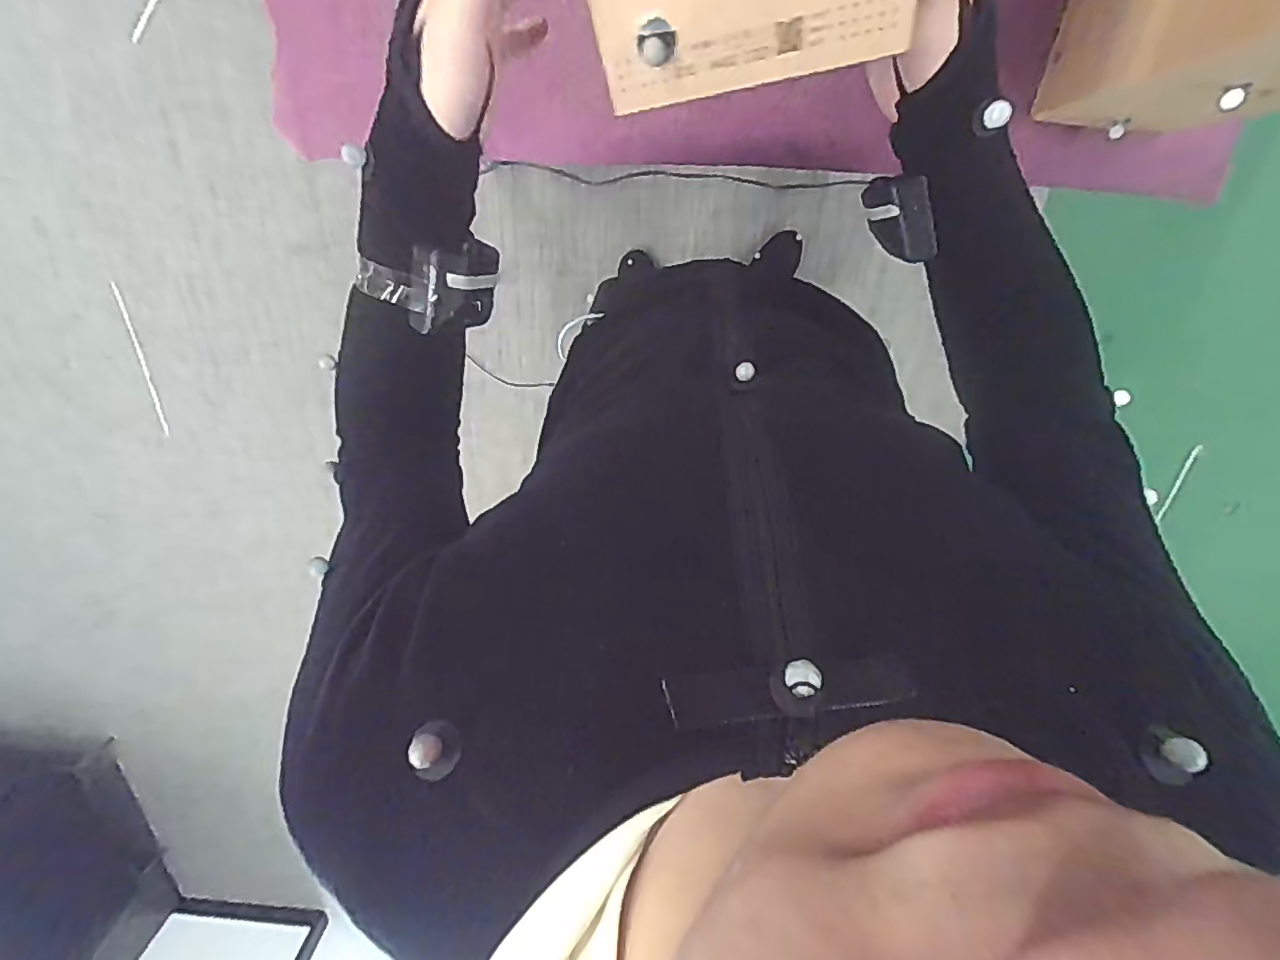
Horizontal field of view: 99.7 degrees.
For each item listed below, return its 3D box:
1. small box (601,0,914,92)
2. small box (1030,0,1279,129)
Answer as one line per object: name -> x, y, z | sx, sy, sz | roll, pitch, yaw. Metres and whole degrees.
small box -> 0.058, -0.342, 0.294 | 0.168, 0.179, 0.176 | -3, 143, 14
small box -> 0.569, -0.484, 0.566 | 0.179, 0.176, 0.168 | 8, 114, 2
